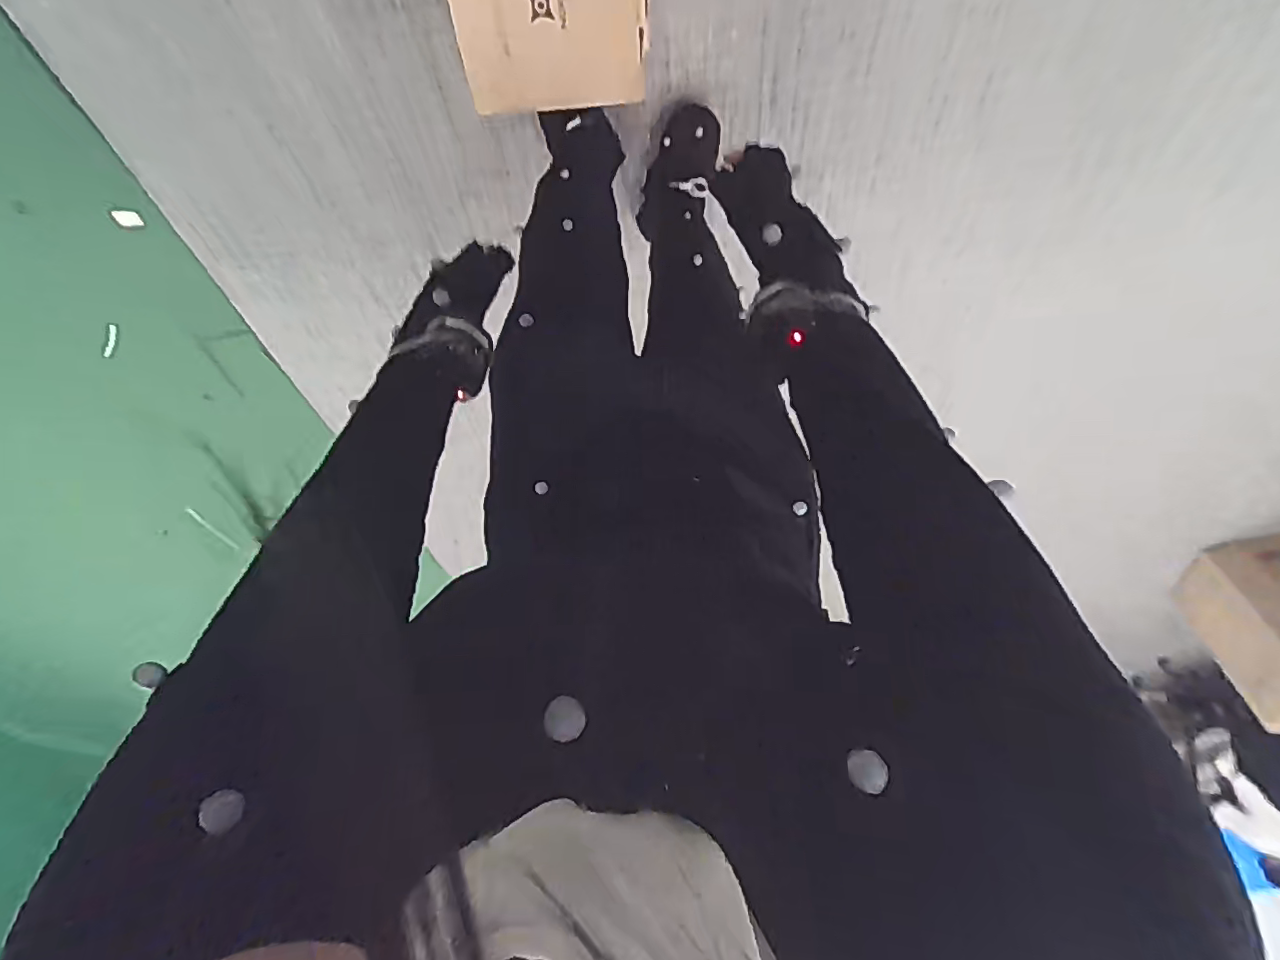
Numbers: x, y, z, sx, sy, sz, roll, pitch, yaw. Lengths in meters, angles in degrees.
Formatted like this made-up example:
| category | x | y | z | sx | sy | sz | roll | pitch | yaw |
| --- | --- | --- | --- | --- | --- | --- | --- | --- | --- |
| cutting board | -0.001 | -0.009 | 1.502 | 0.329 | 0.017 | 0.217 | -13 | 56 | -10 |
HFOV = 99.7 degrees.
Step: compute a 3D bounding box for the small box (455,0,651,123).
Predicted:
| category | x | y | z | sx | sy | sz | roll | pitch | yaw |
| --- | --- | --- | --- | --- | --- | --- | --- | --- | --- |
| small box | -0.083 | -0.492 | 0.551 | 0.179 | 0.176 | 0.168 | -3 | 140 | 3 |
